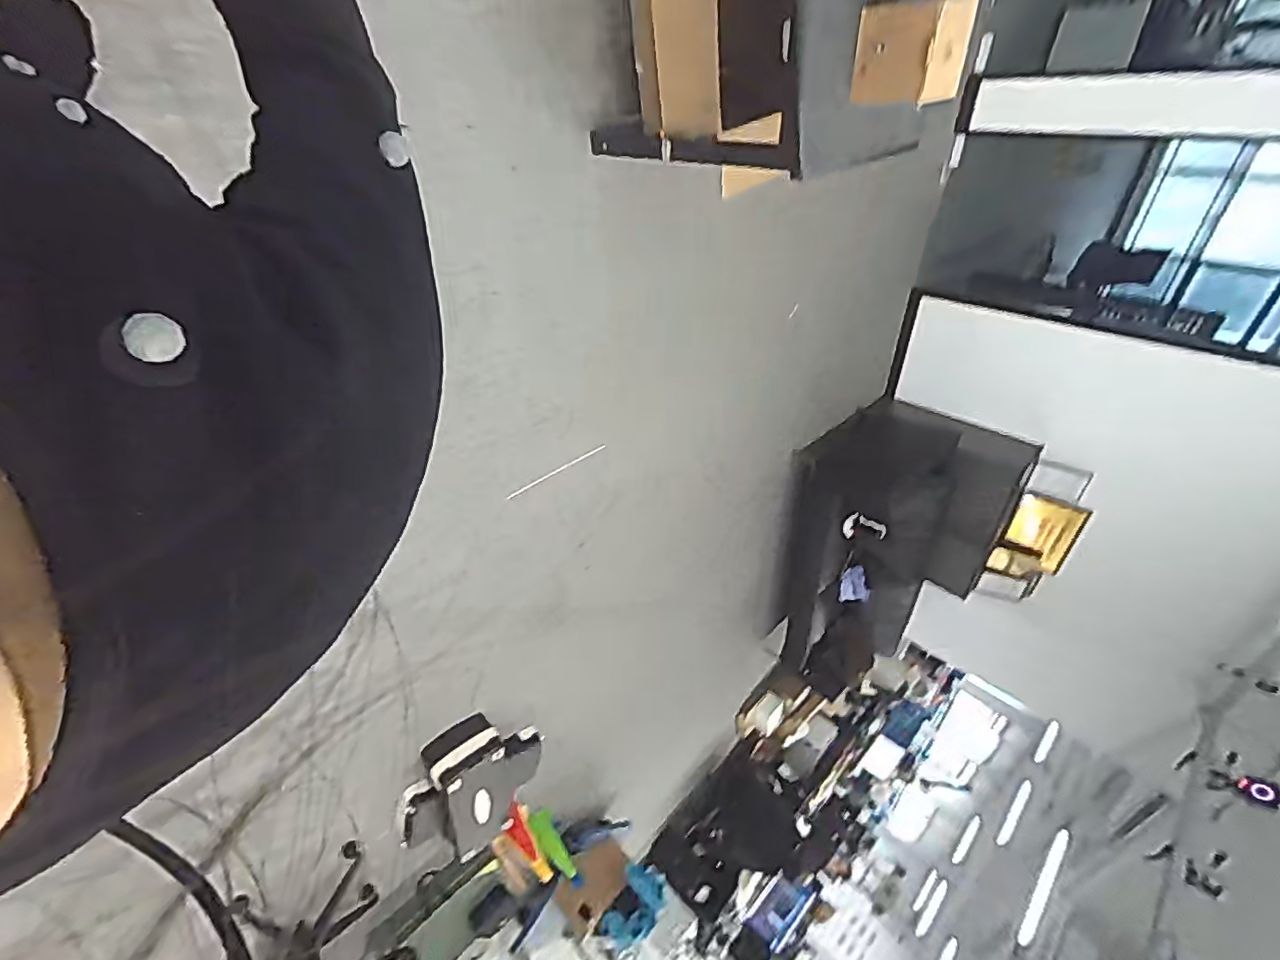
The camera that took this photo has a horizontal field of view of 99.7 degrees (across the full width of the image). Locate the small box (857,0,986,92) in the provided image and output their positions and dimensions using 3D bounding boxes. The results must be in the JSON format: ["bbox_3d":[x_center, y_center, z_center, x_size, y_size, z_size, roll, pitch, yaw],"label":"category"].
[{"bbox_3d":[0.595,-0.938,1.153,0.179,0.176,0.168,-32,136,-30],"label":"small box"}]
